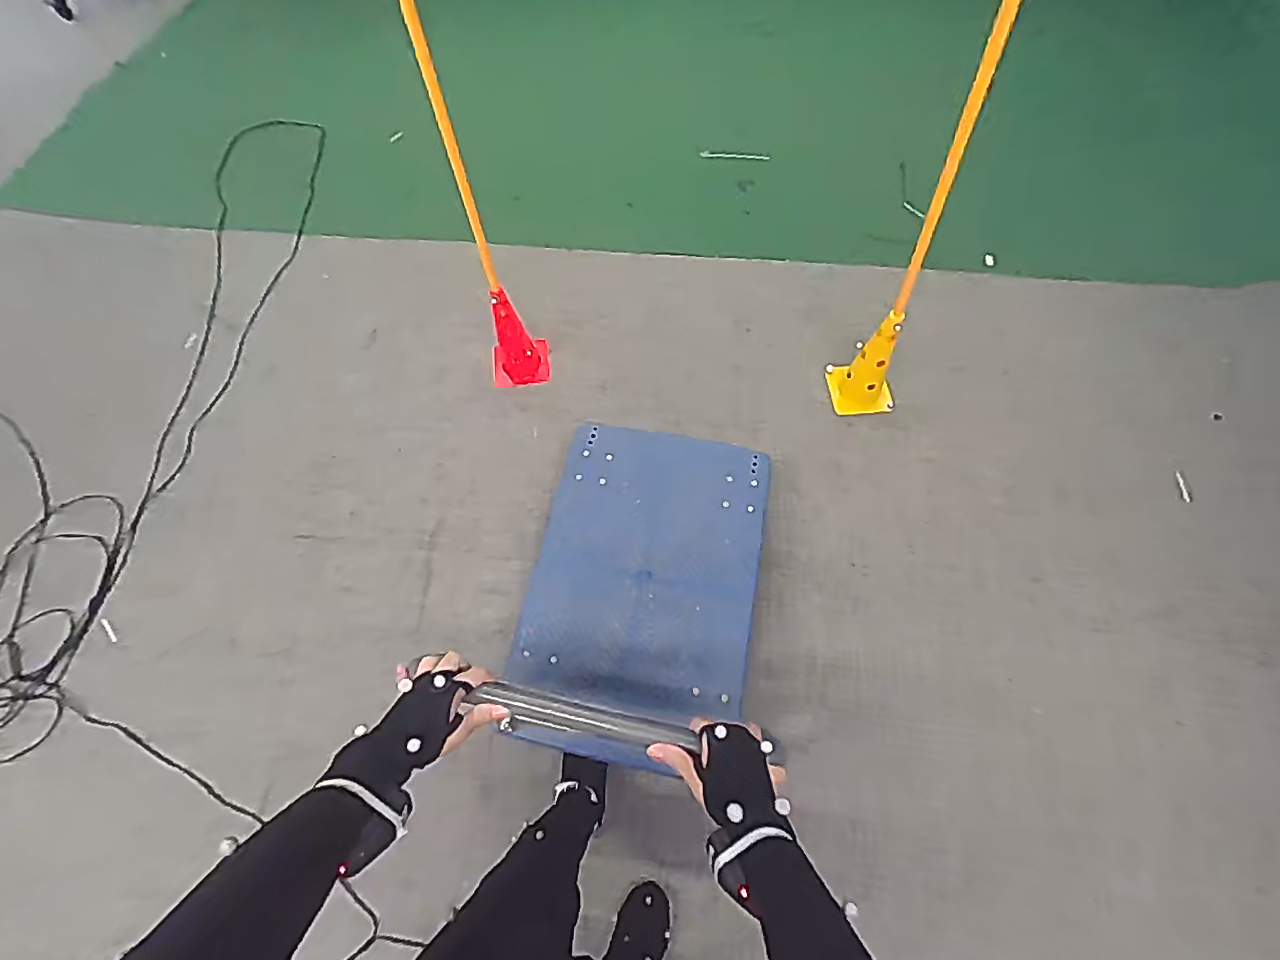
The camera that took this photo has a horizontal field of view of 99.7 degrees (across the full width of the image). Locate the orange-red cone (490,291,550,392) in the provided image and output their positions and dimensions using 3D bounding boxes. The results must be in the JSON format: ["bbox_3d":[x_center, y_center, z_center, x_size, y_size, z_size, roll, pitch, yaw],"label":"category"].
[{"bbox_3d":[-0.434,-0.481,1.799,0.199,0.360,0.198,-8,62,-1],"label":"orange-red cone"}]
